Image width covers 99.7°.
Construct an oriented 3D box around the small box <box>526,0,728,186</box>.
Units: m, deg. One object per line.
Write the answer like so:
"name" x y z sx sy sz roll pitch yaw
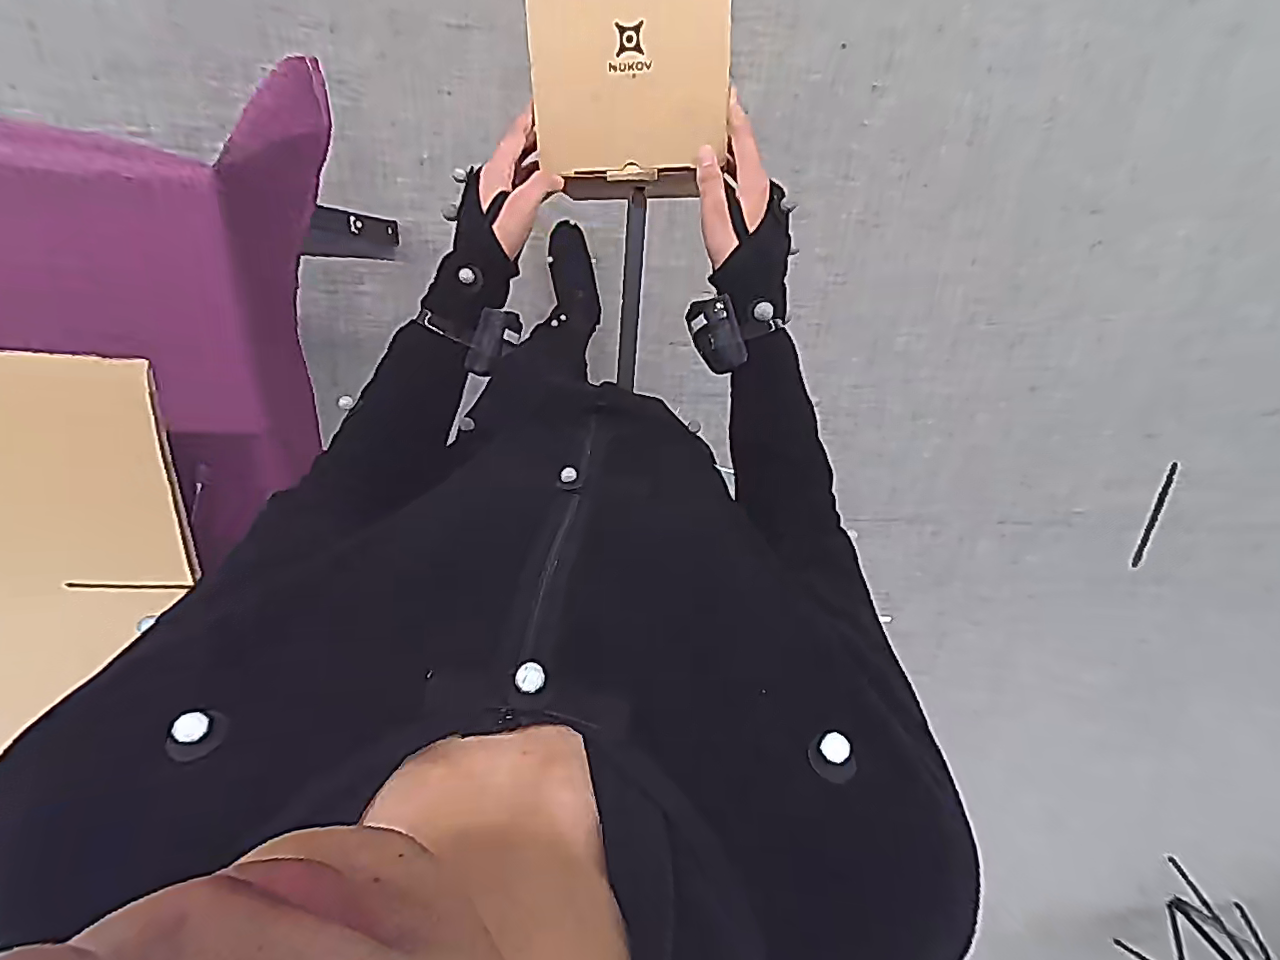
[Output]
"small box" -0.004 -0.385 0.515 0.168 0.176 0.179 0 112 4
